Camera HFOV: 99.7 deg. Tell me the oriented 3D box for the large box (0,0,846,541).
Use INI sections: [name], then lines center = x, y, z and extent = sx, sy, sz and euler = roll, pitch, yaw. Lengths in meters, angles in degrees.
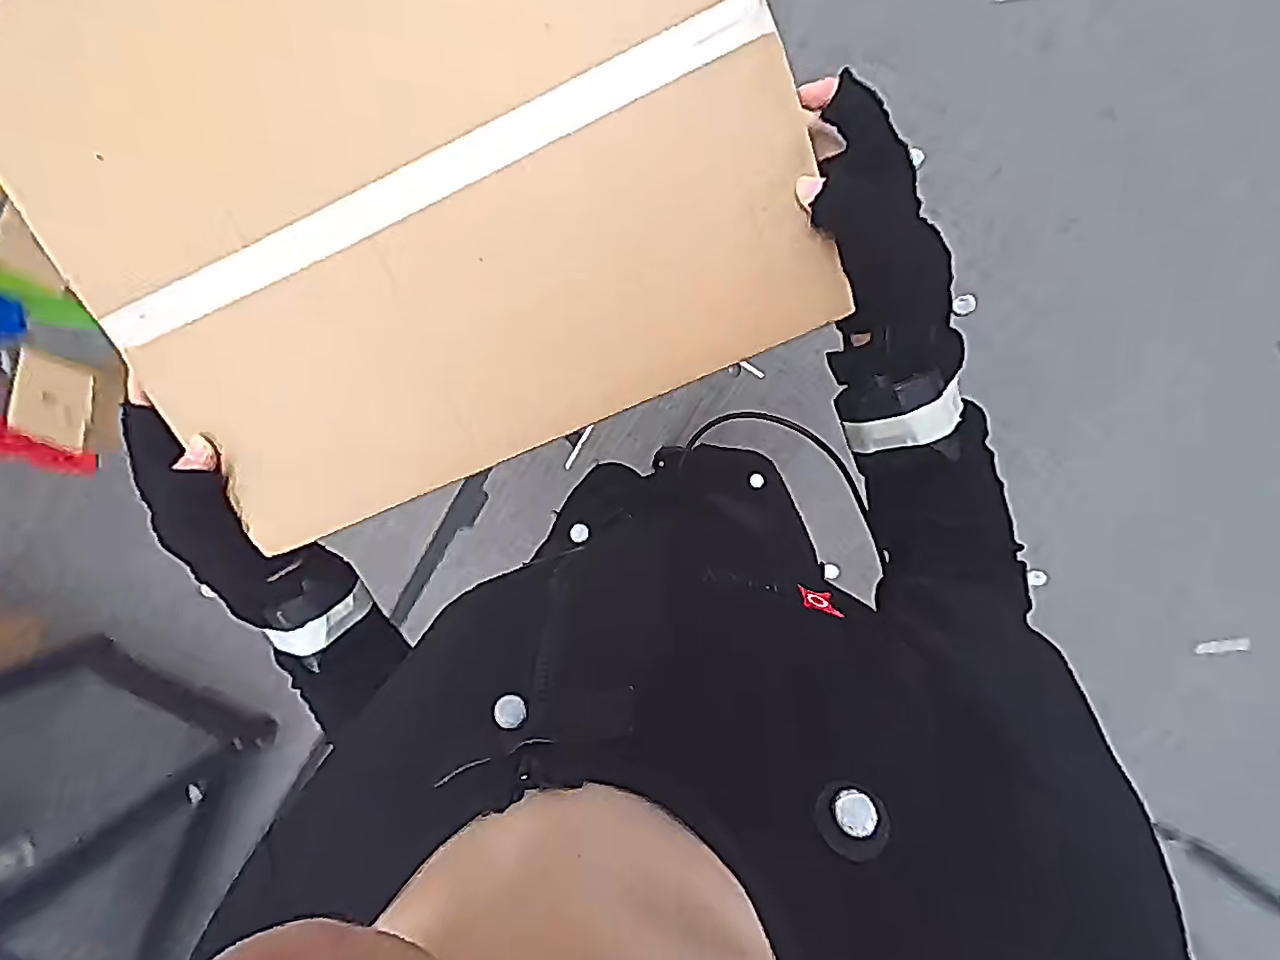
[large box]
center = -0.112, -0.209, 0.445
extent = 0.408, 0.320, 0.320
euler = -21, 106, 7
